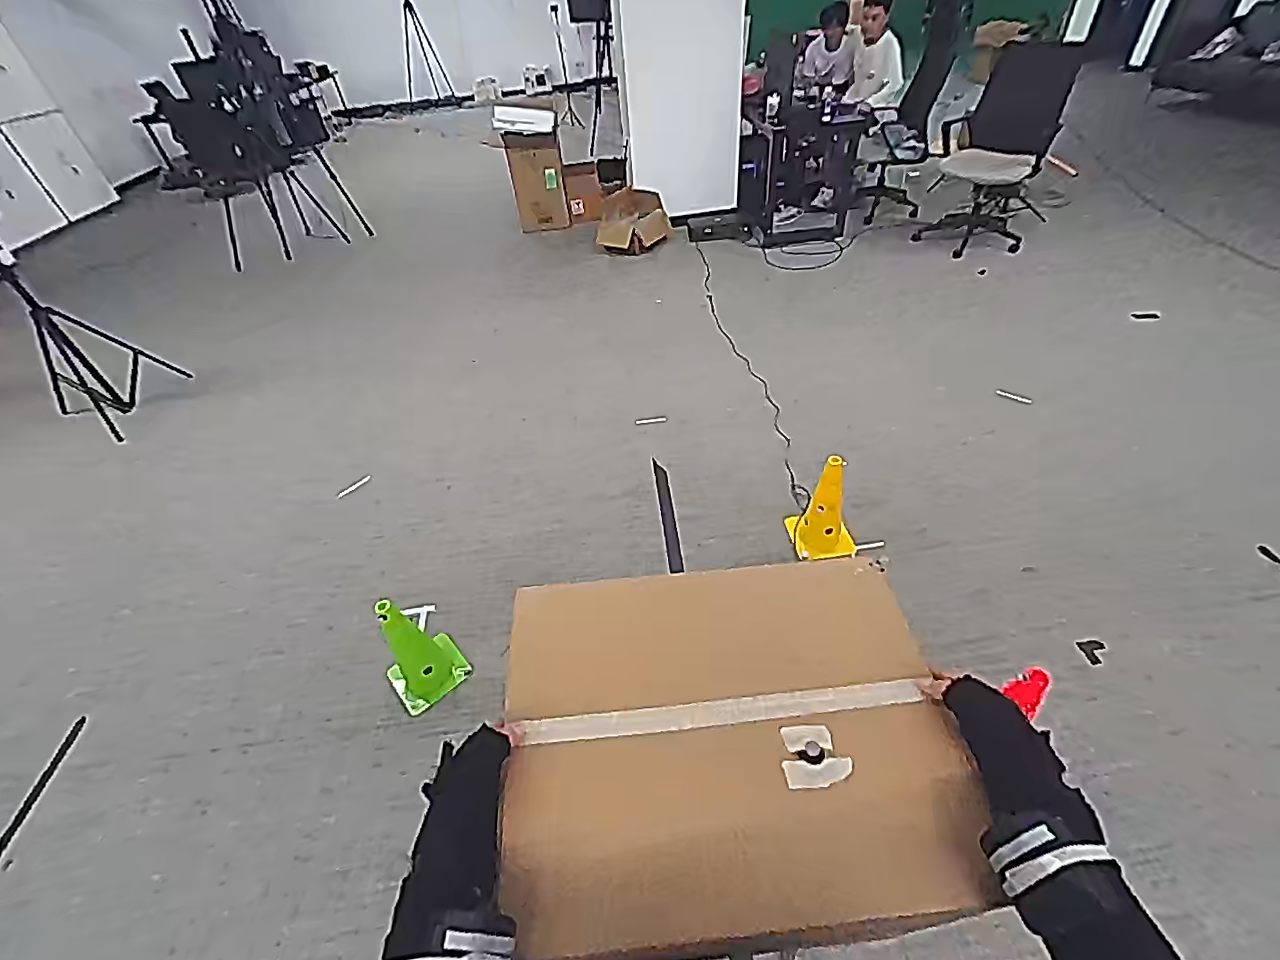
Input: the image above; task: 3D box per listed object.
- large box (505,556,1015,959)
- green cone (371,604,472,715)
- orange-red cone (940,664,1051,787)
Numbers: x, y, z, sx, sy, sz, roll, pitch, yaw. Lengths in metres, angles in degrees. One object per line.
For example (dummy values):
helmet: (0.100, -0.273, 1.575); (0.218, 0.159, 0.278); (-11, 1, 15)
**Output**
large box: (0.083, 0.319, 0.614); (0.408, 0.320, 0.320); (-5, 46, -3)
green cone: (-0.655, 0.462, 1.528); (0.202, 0.368, 0.200); (-36, 49, -26)
orange-red cone: (0.856, 0.532, 1.251); (0.198, 0.360, 0.199); (-9, 41, -3)
